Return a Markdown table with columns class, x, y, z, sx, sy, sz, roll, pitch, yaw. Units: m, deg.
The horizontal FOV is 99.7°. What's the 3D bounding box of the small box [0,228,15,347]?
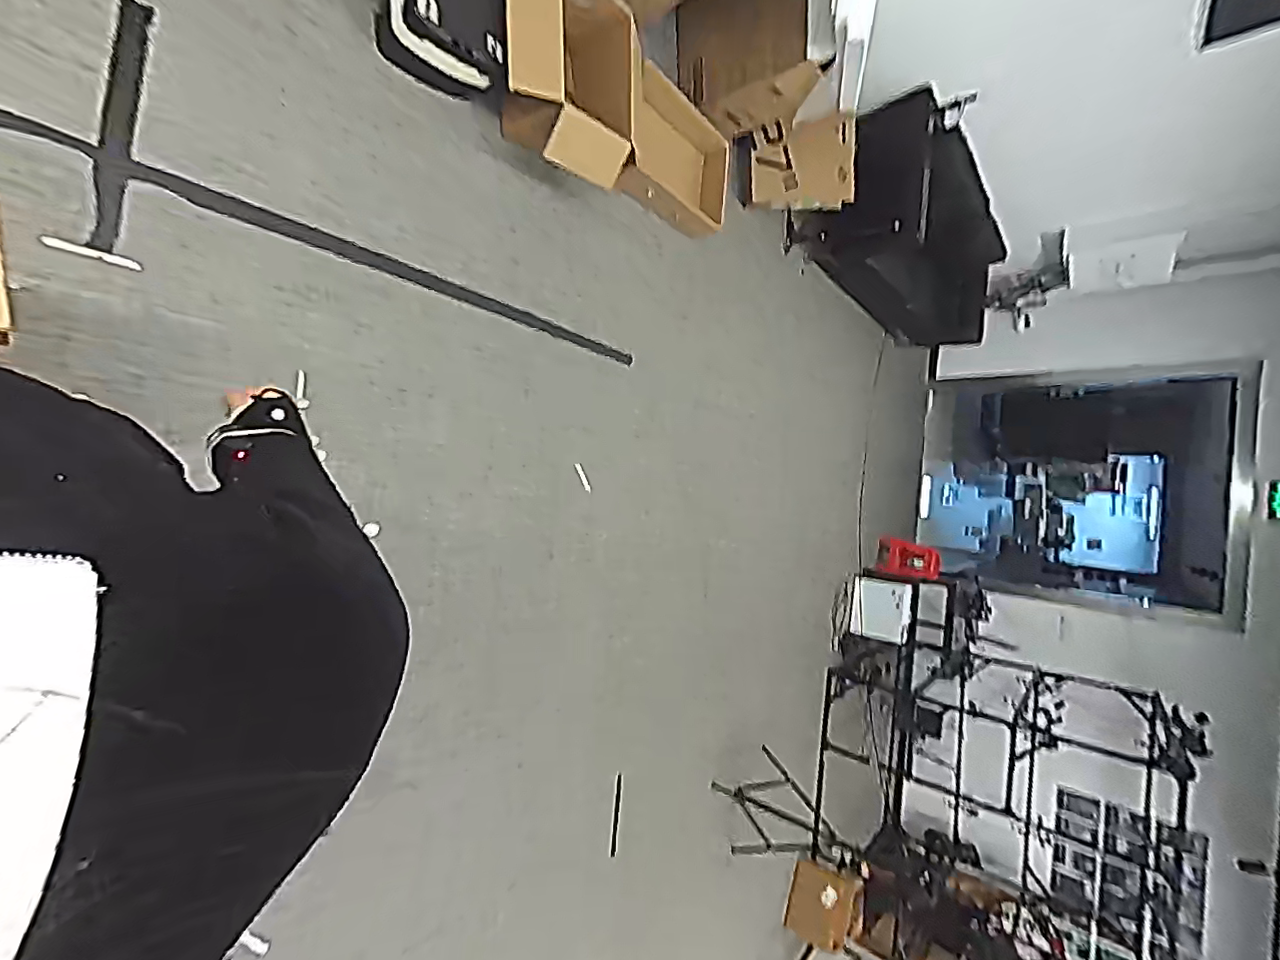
| class | x | y | z | sx | sy | sz | roll | pitch | yaw |
| --- | --- | --- | --- | --- | --- | --- | --- | --- | --- |
| small box | -0.903 | -0.264 | 0.663 | 0.168 | 0.176 | 0.179 | -7 | 99 | -48 |
